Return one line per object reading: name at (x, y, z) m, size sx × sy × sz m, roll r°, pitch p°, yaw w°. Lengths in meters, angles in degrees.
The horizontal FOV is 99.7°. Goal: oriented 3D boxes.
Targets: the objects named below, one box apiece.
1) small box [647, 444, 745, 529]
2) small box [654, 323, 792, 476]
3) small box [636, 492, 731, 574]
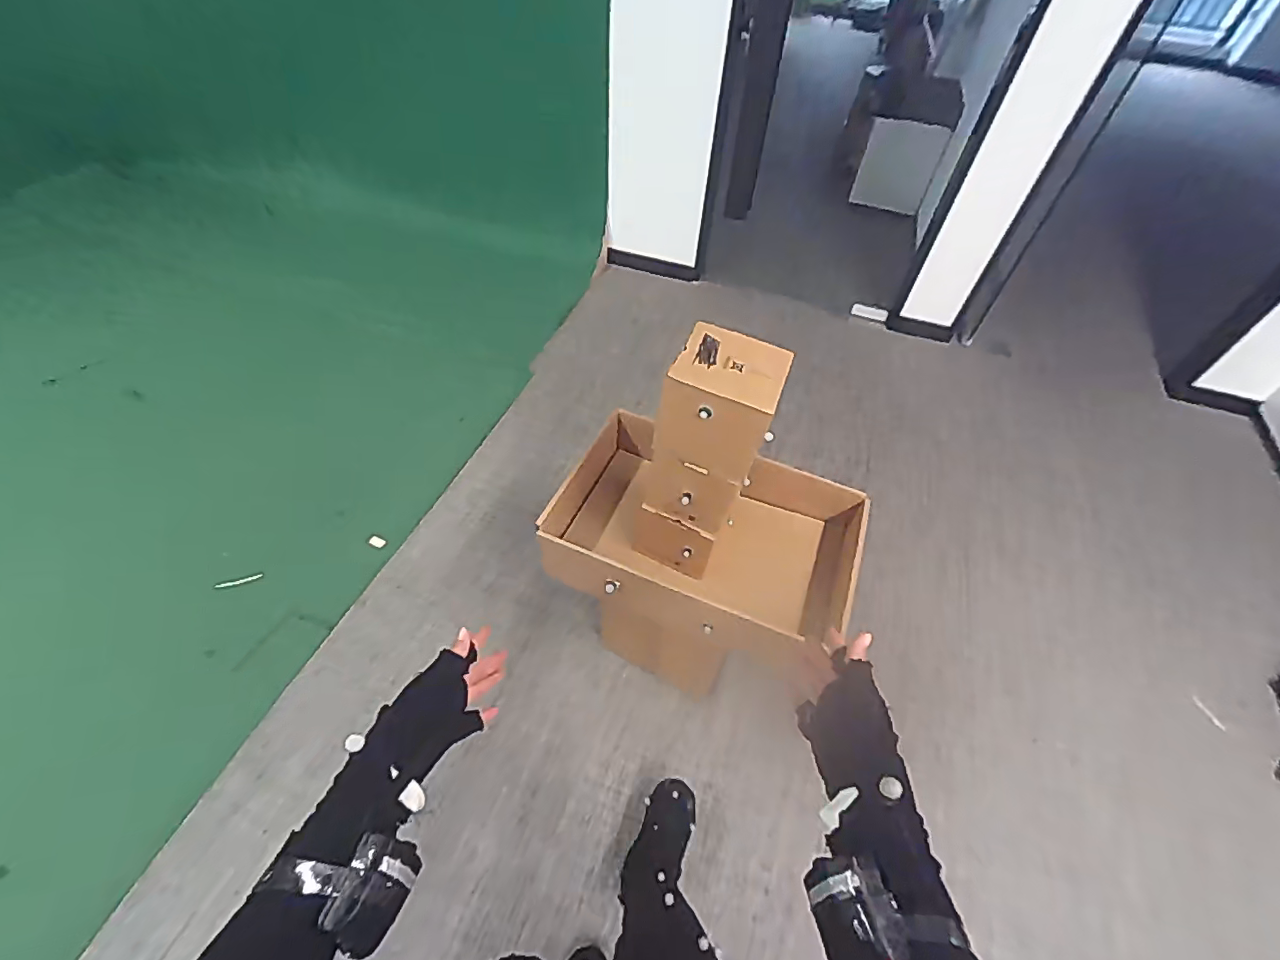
small box at (0.122, -0.033, 1.062) m, size 0.168 × 0.176 × 0.179 m, roll 23°, pitch 53°, yaw 10°
small box at (0.136, -0.134, 0.931) m, size 0.179 × 0.176 × 0.168 m, roll 22°, pitch 52°, yaw 8°
small box at (0.100, 0.075, 1.183) m, size 0.168 × 0.176 × 0.179 m, roll 24°, pitch 51°, yaw 11°
